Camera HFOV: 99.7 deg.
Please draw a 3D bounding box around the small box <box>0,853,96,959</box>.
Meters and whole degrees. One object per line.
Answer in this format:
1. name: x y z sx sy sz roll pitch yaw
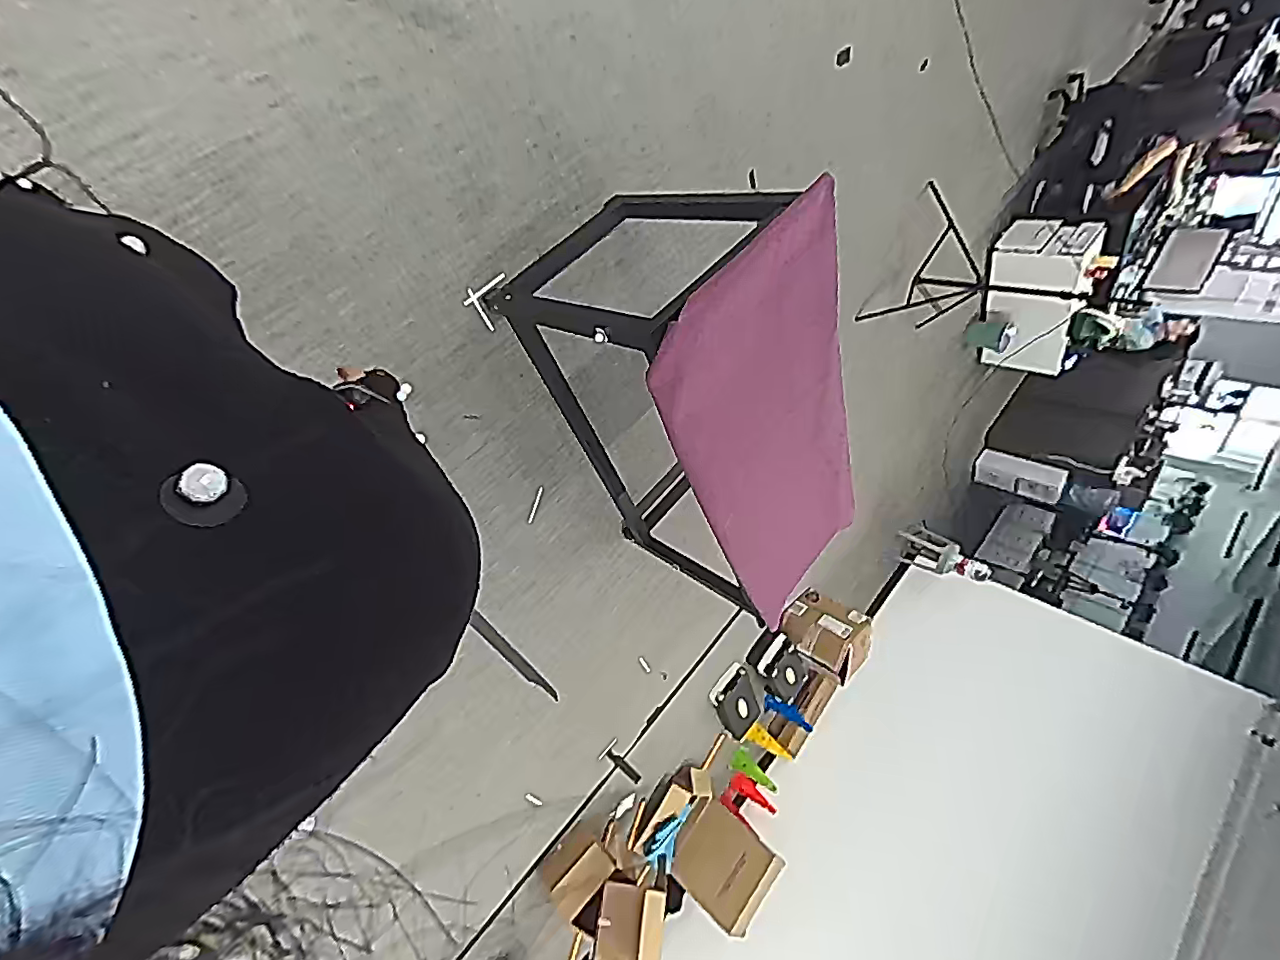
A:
1. small box: -1.370 0.973 1.195 0.179 0.176 0.168 -47 134 -18
